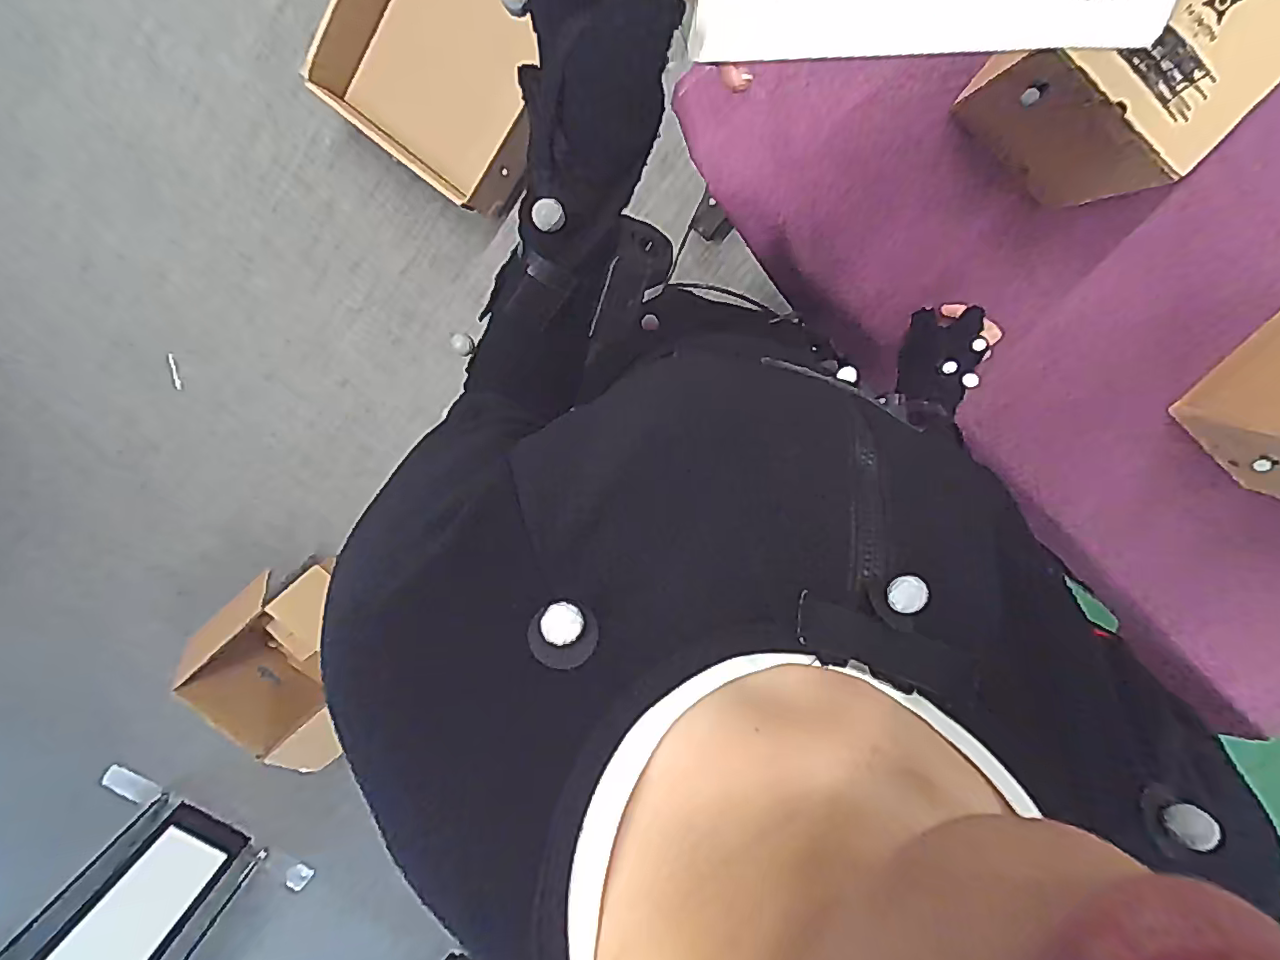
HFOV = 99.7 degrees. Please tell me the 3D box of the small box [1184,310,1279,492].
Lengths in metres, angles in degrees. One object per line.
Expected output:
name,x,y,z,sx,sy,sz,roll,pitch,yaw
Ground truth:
small box,0.769,-0.081,0.591,0.168,0.176,0.179,38,106,-10
